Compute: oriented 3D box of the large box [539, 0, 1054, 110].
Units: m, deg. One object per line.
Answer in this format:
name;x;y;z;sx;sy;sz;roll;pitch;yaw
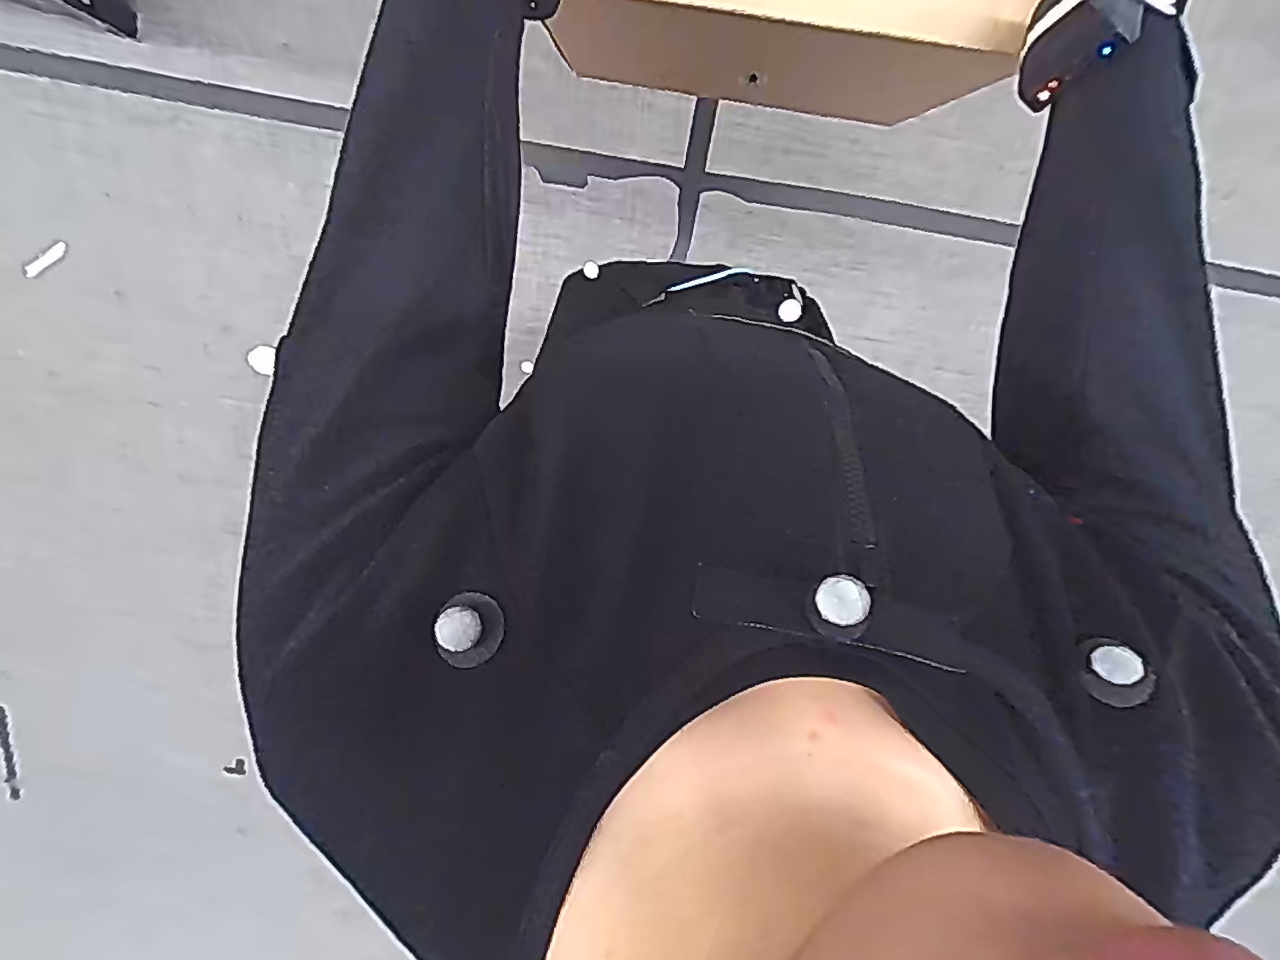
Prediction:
large box;0.132;-0.552;0.472;0.408;0.320;0.320;9;115;-1
